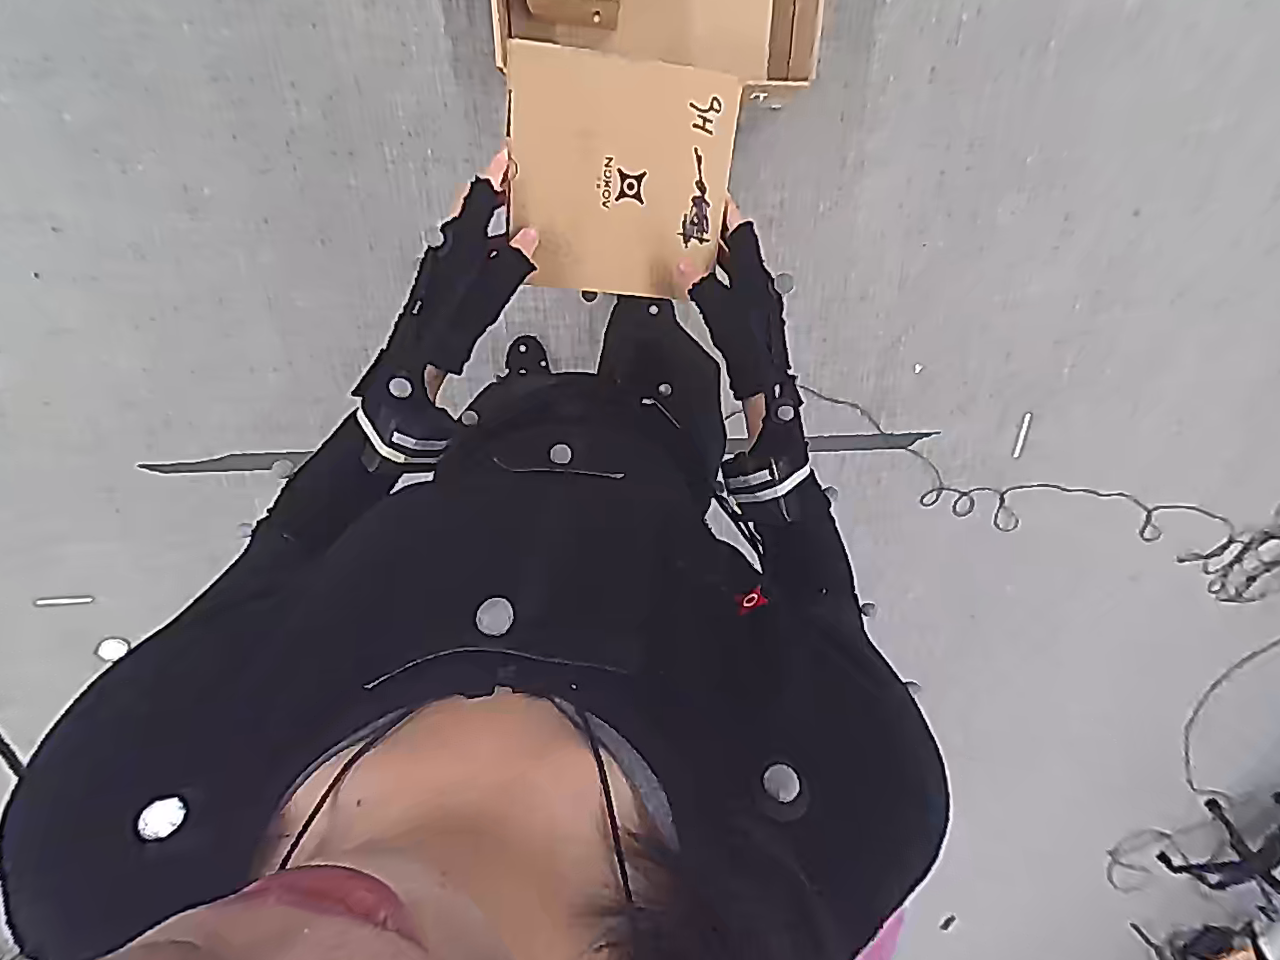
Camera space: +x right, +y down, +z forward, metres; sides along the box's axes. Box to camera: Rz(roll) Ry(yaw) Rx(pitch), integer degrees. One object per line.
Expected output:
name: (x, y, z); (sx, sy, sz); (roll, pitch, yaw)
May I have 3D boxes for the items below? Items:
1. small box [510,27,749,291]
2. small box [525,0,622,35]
small box: (-0.019, -0.270, 0.495); (0.179, 0.176, 0.168); (3, 111, -8)
small box: (-0.122, -0.961, 1.004); (0.179, 0.176, 0.168); (1, 113, -6)
